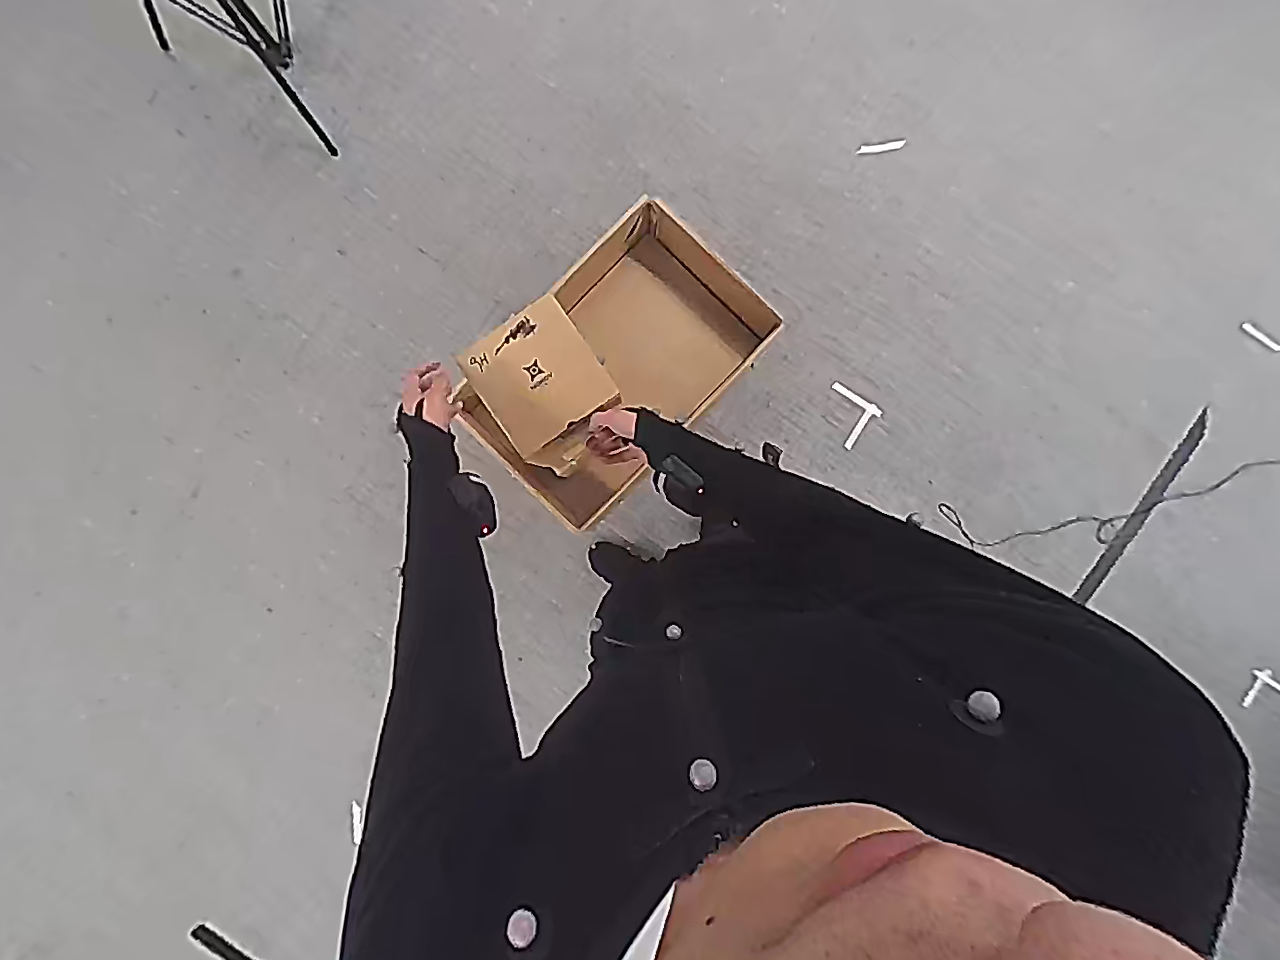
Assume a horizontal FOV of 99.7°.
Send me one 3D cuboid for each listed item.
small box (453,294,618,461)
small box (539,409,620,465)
[{"bbox_3d":[-0.144,-0.143,0.823,0.168,0.176,0.179,-34,89,-1],"label":"small box"},{"bbox_3d":[-0.150,-0.142,0.987,0.168,0.176,0.179,-38,88,-1],"label":"small box"}]
